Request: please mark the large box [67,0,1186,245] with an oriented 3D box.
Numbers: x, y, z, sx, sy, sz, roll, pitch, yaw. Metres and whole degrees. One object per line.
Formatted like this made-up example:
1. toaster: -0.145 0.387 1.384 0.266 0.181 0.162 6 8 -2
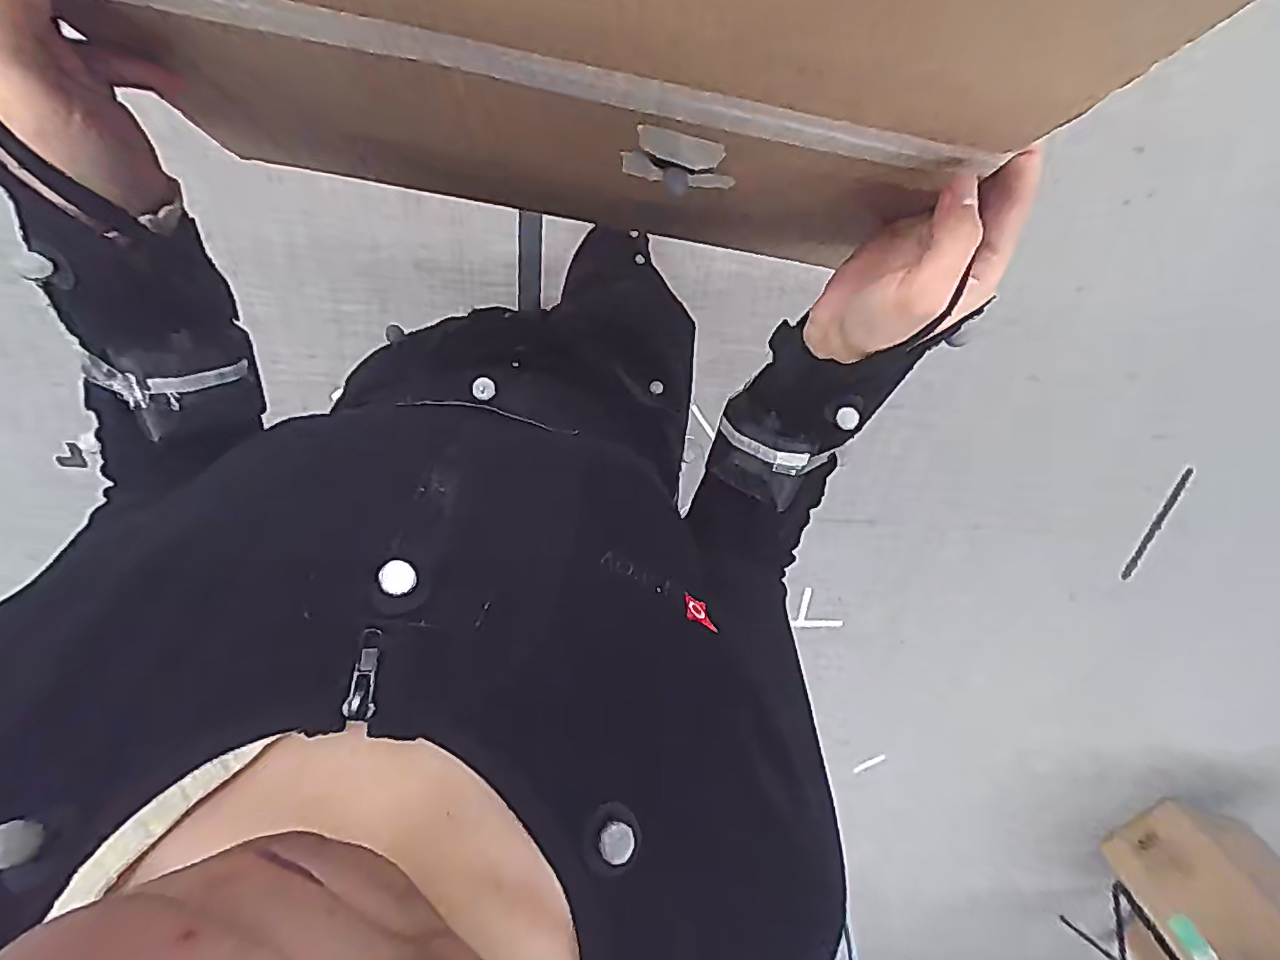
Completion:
1. large box: -0.021 -0.325 0.203 0.408 0.320 0.320 7 96 -6
